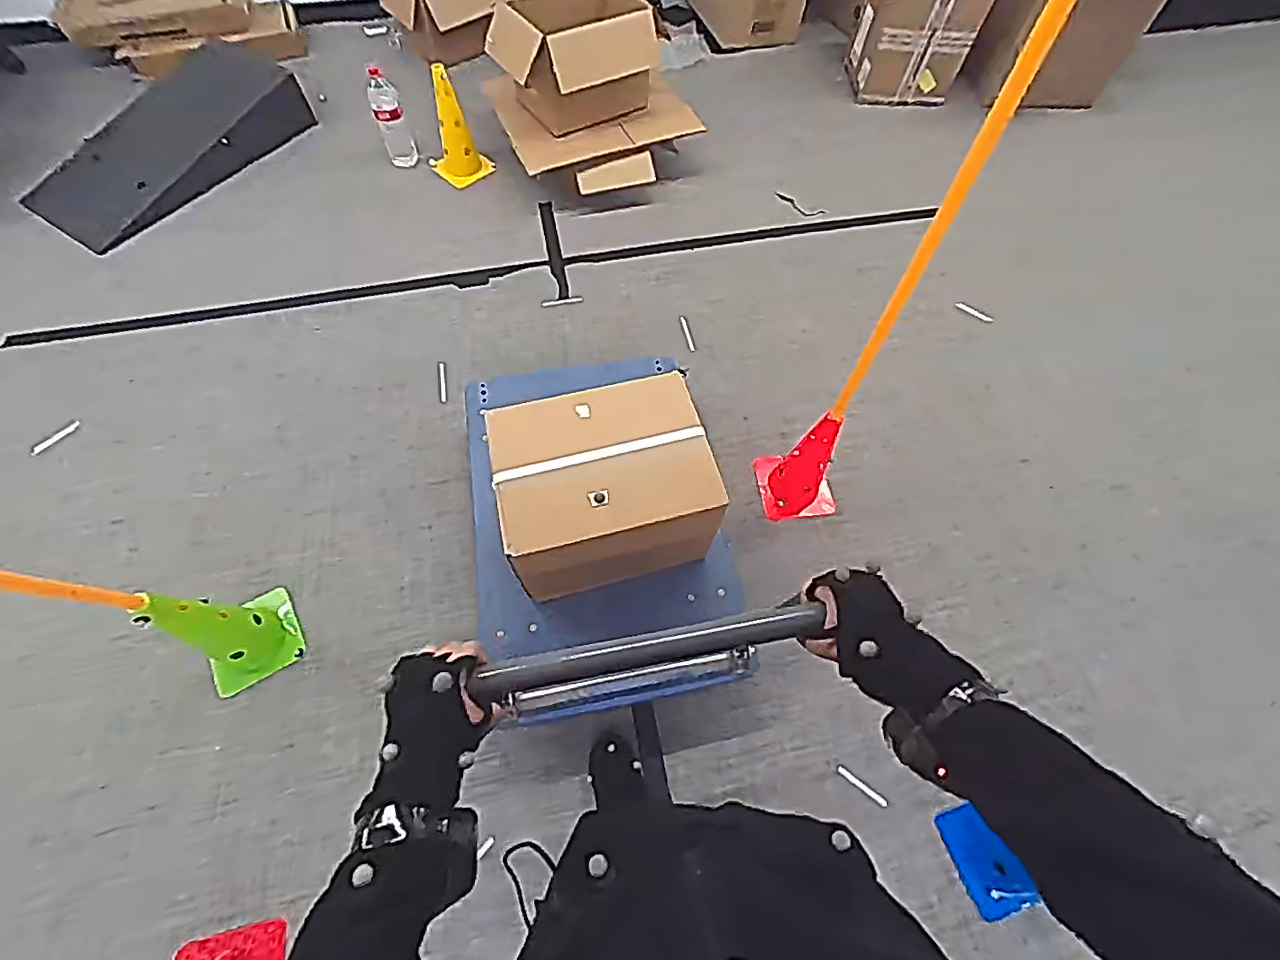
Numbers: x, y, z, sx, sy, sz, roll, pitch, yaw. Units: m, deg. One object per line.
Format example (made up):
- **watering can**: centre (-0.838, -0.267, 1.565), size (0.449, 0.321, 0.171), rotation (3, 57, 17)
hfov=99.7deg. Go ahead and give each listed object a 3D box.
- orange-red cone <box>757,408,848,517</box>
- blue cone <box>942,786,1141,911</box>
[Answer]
- **orange-red cone**: centre (0.446, -0.068, 1.376), size (0.199, 0.360, 0.198), rotation (-4, 63, -5)
- **blue cone**: centre (0.763, 0.700, 1.000), size (0.193, 0.380, 0.192), rotation (-14, 63, -9)
